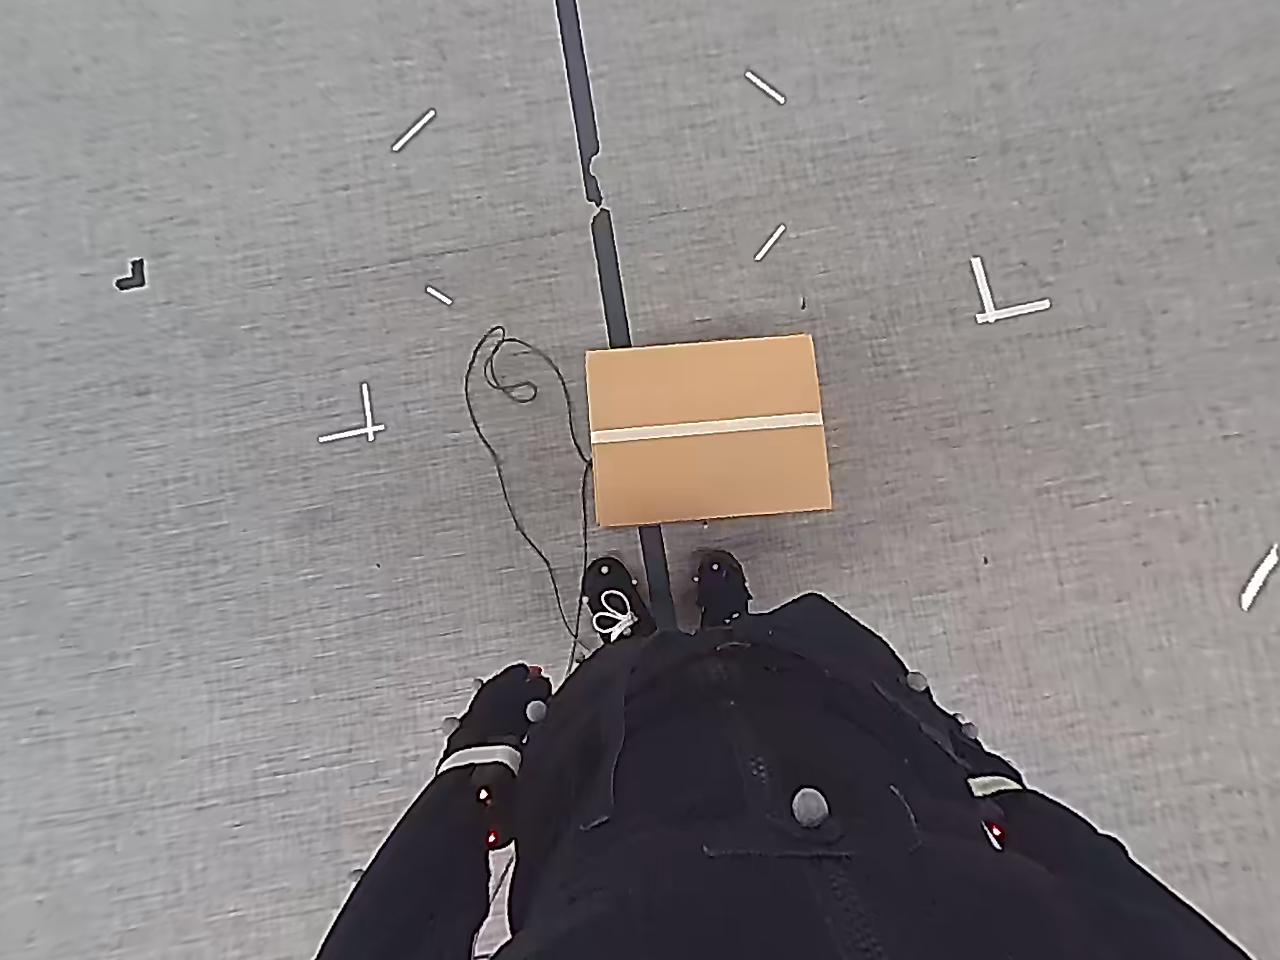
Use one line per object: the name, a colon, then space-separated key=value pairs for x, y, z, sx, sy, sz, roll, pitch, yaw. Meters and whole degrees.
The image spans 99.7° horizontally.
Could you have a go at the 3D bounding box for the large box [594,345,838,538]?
large box: x=0.129 y=-0.055 z=1.089 sx=0.408 sy=0.320 sz=0.320 roll=-5 pitch=84 yaw=0
